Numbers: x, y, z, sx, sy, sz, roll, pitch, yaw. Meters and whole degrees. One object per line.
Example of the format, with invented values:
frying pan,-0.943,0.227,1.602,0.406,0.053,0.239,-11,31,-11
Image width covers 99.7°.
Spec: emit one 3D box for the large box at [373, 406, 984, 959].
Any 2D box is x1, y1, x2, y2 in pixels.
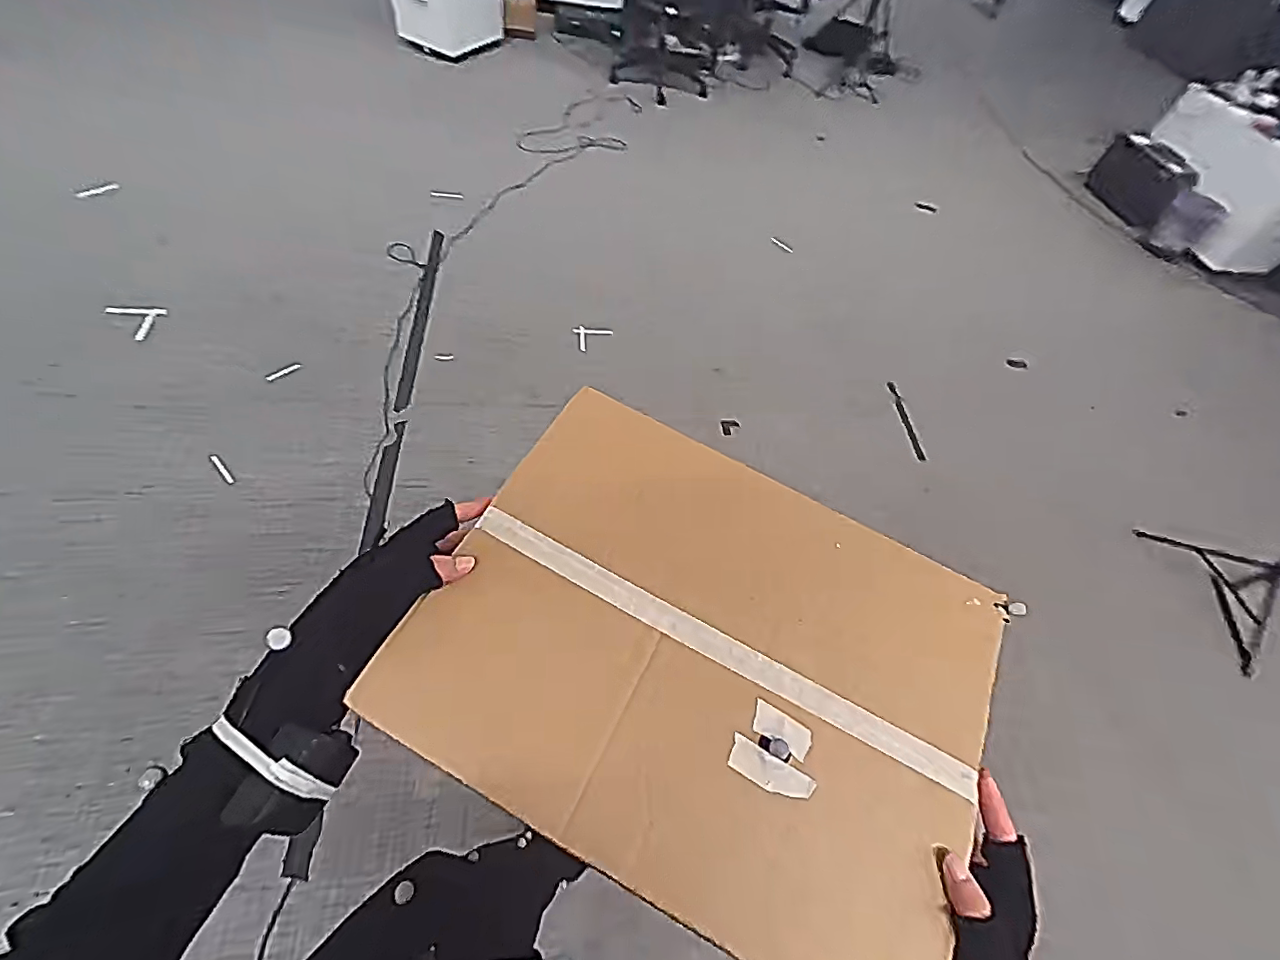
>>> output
large box,0.036,0.200,0.547,0.408,0.320,0.320,28,62,7
